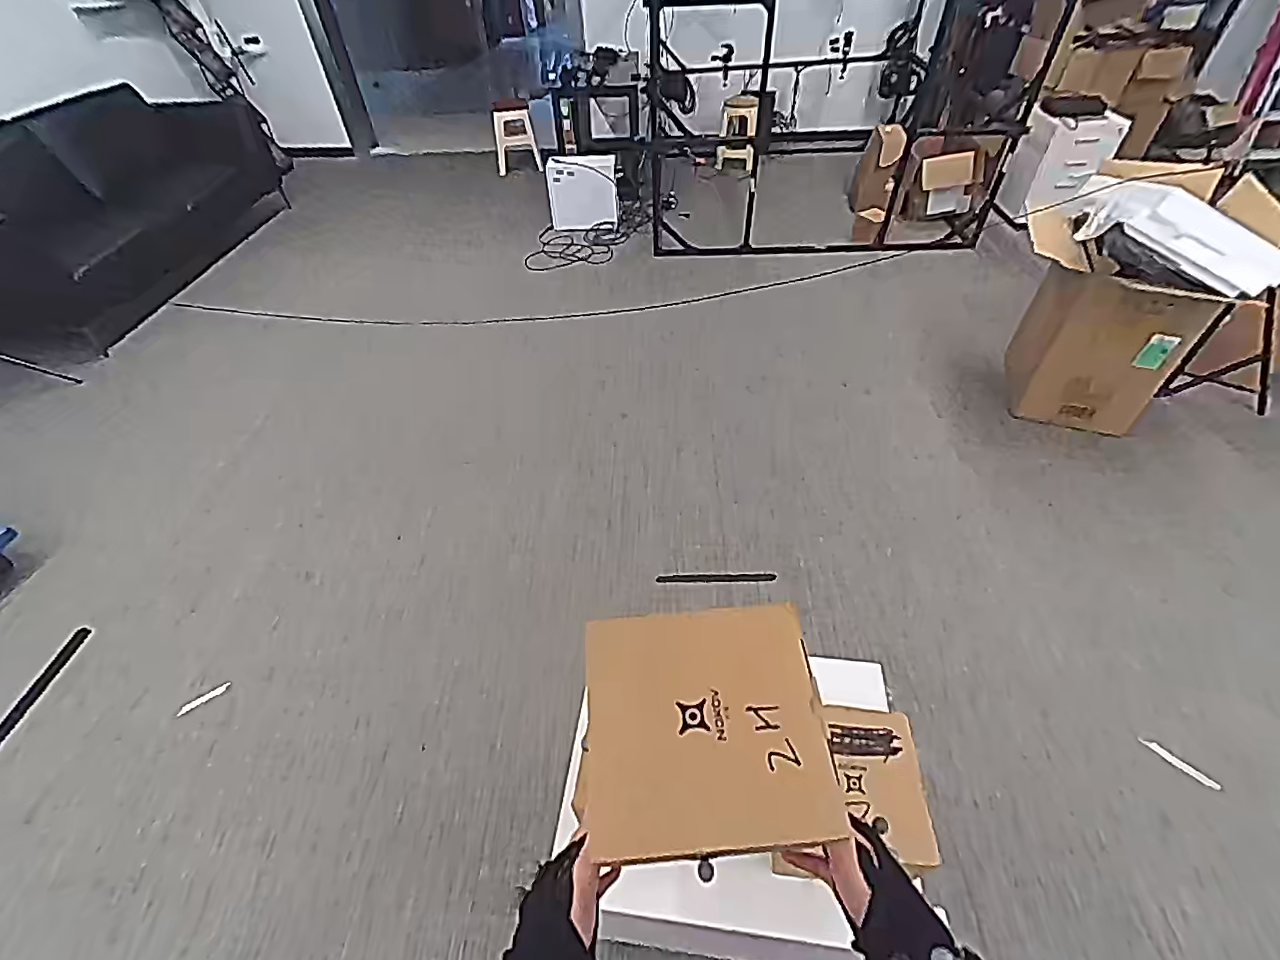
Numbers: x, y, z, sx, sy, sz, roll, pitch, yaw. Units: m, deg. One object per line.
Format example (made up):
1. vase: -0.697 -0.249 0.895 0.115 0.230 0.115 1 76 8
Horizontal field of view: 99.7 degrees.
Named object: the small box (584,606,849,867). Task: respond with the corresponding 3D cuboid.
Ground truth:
1. small box: 0.051 0.224 0.462 0.179 0.176 0.168 -5 54 -1
